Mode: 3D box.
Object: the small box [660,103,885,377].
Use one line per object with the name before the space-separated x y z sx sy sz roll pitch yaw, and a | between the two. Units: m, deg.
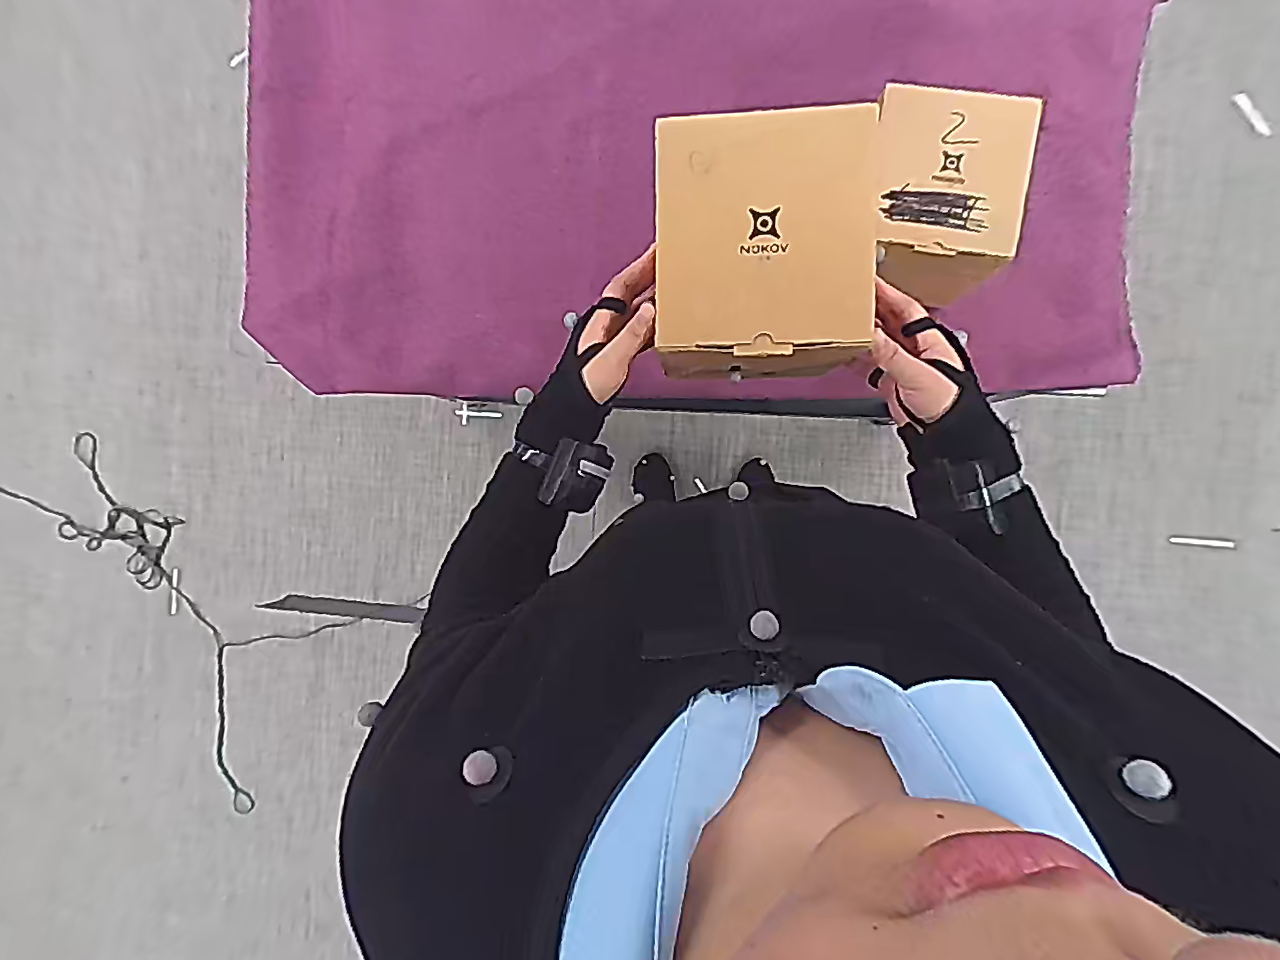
small box | 0.104 -0.192 0.482 0.168 0.176 0.179 0 94 6
